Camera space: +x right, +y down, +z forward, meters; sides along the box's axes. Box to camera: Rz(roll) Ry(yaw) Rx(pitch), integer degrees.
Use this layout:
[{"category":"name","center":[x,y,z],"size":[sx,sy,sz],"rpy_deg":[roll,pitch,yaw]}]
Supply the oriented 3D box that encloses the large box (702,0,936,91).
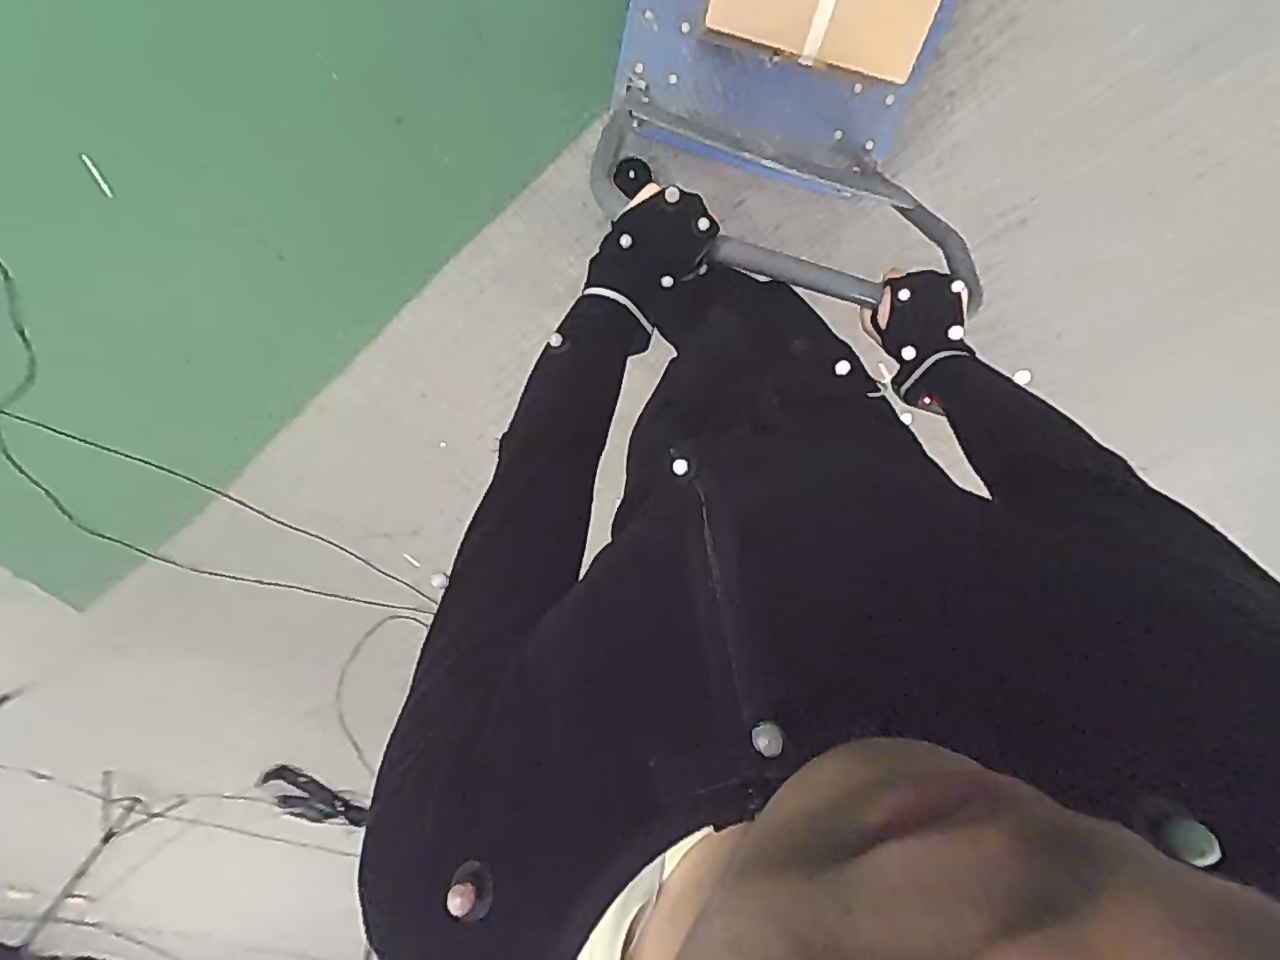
[{"category":"large box","center":[0.290,-0.855,0.806],"size":[0.320,0.320,0.408],"rpy_deg":[12,126,-5]}]
